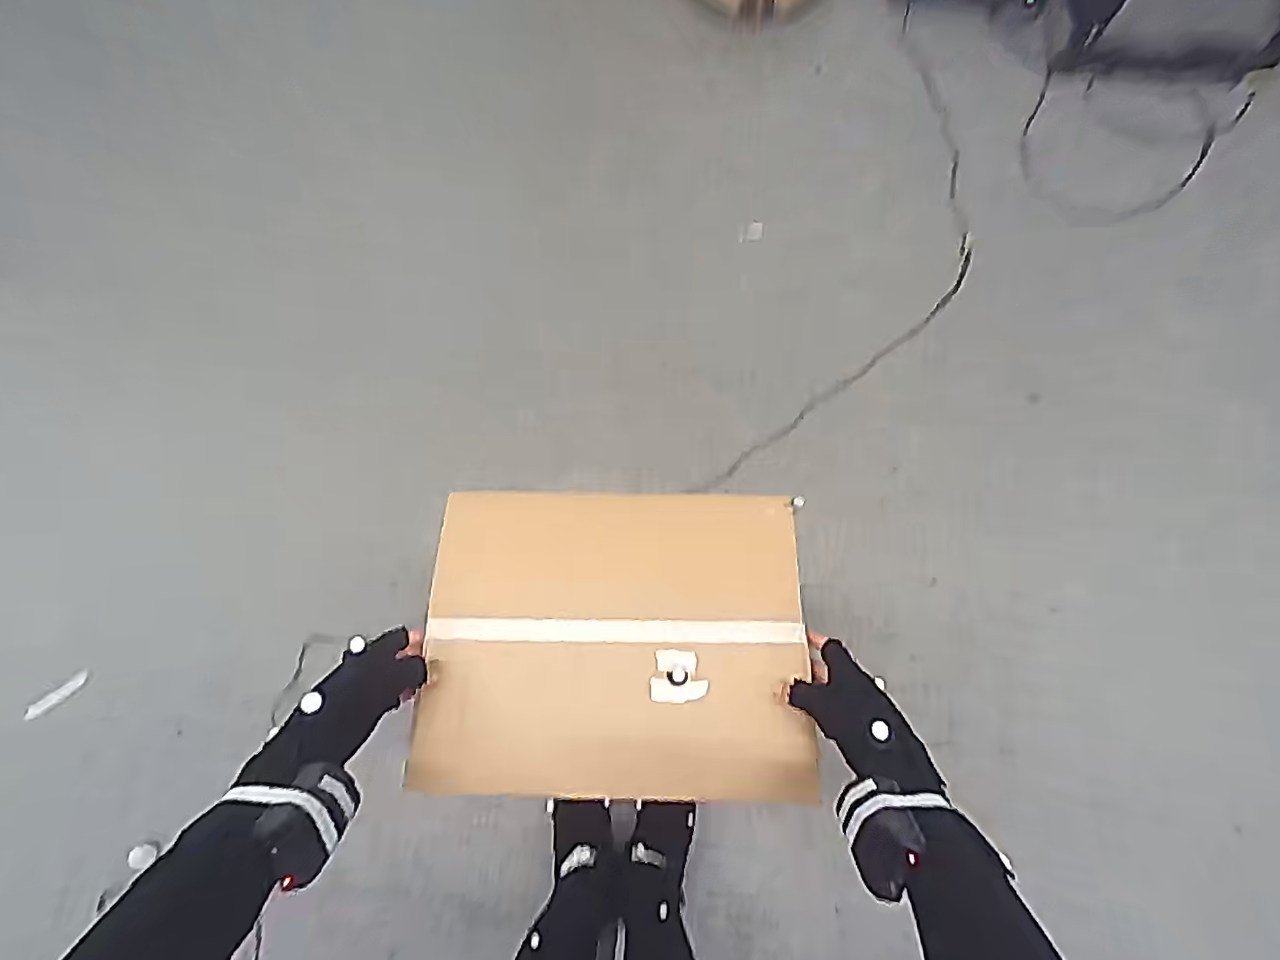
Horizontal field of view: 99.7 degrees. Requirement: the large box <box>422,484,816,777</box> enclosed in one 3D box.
[{"bbox_3d":[-0.021,0.205,0.729,0.408,0.320,0.320,1,69,1],"label":"large box"}]
